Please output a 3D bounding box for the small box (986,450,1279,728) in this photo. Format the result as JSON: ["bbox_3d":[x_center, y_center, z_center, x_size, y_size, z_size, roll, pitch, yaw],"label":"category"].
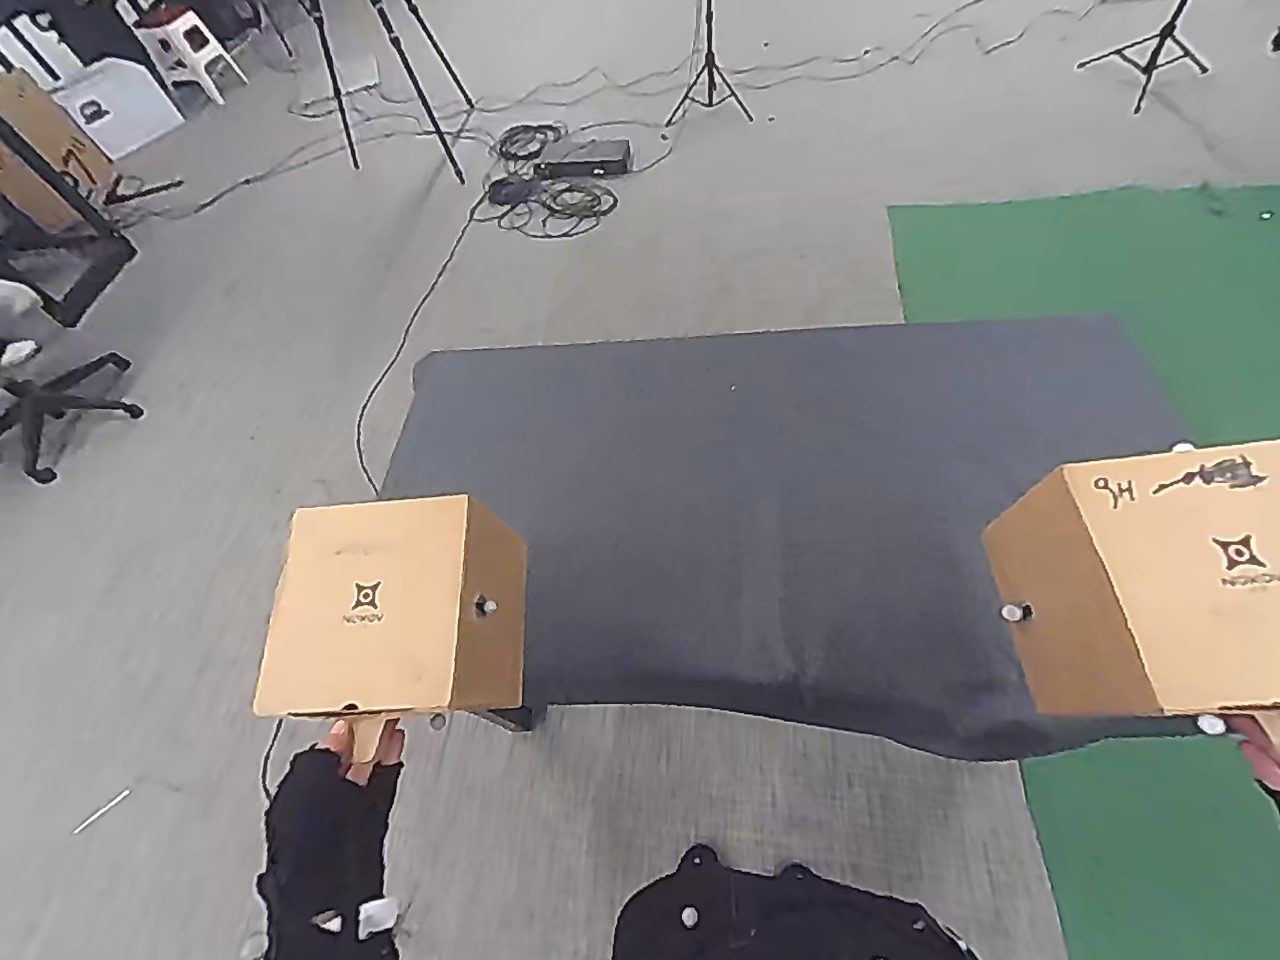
[{"bbox_3d":[0.415,0.095,0.431,0.168,0.176,0.179,-7,66,9],"label":"small box"}]

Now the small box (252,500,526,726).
[{"bbox_3d":[-0.214,0.132,0.515,0.168,0.176,0.179,-5,67,5],"label":"small box"}]
